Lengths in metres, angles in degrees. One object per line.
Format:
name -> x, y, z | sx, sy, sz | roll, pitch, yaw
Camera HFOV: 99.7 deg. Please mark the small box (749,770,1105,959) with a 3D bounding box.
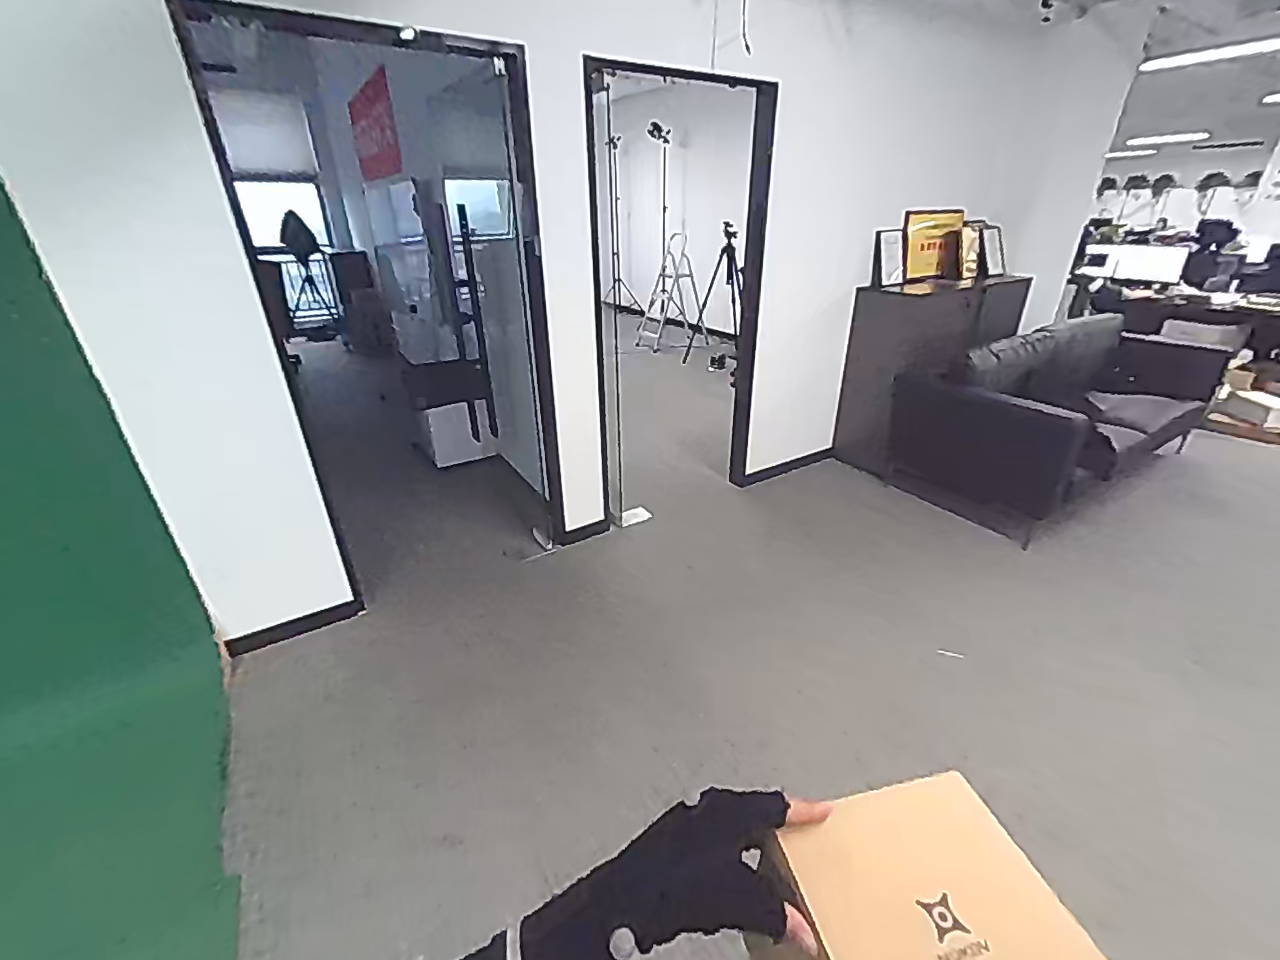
small box -> 0.190, 0.349, 0.384 | 0.168, 0.176, 0.179 | -4, 30, -12
